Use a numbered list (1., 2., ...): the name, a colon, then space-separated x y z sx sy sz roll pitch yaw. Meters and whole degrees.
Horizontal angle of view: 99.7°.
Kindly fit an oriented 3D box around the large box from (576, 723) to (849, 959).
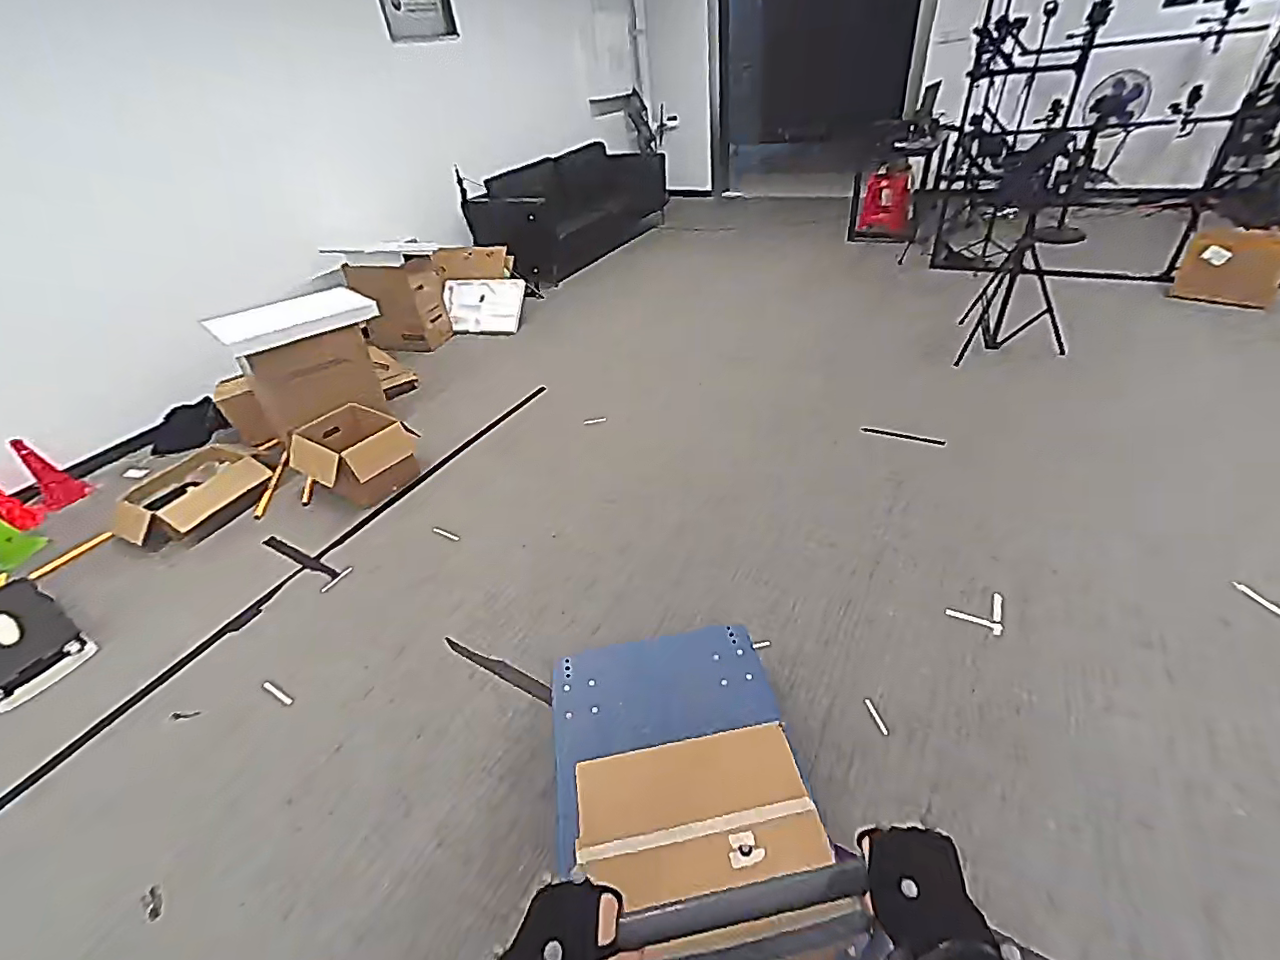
1. large box: 0.110 0.718 1.008 0.408 0.320 0.320 -9 38 -6
